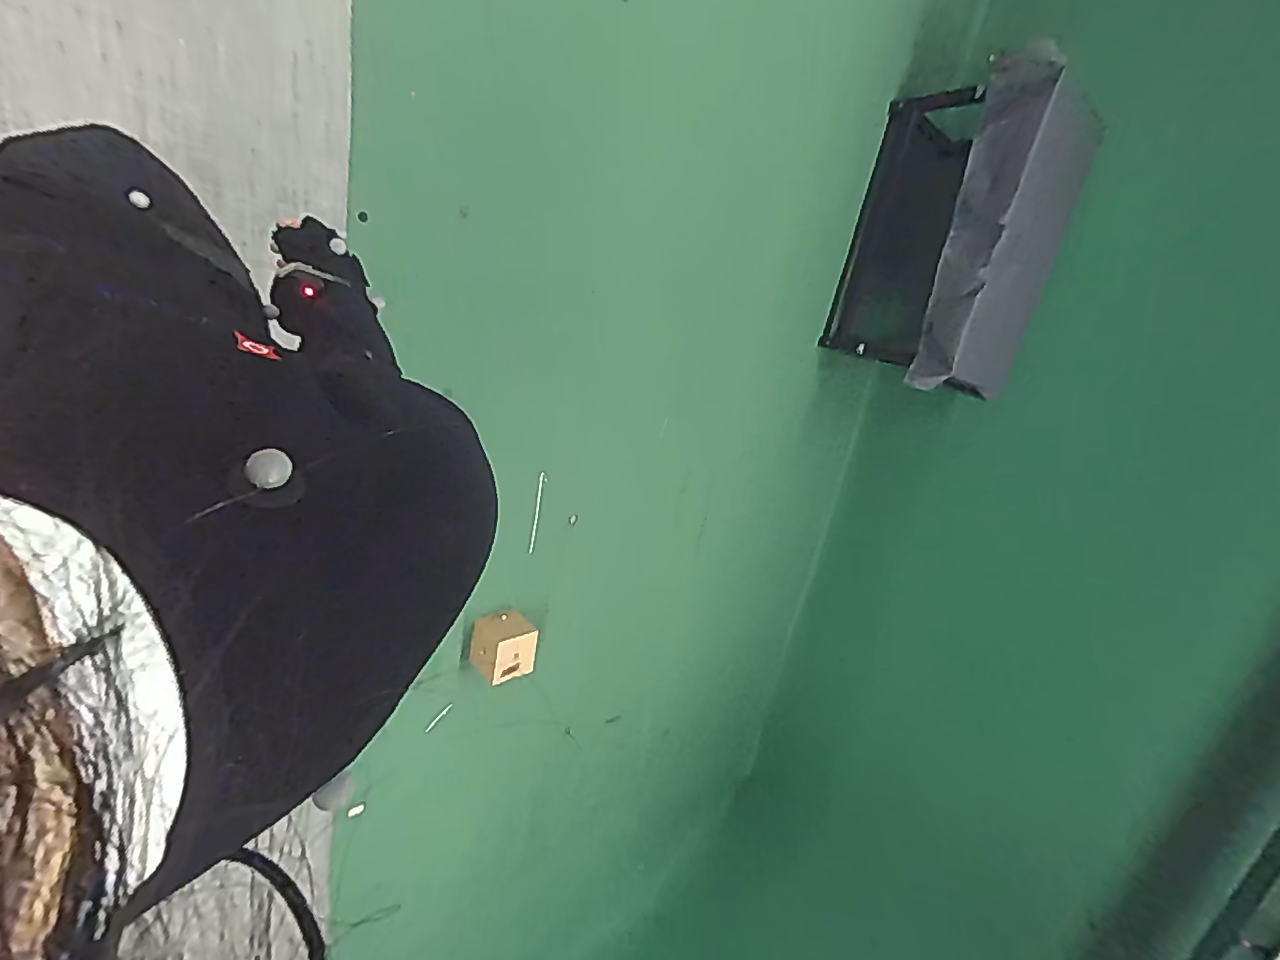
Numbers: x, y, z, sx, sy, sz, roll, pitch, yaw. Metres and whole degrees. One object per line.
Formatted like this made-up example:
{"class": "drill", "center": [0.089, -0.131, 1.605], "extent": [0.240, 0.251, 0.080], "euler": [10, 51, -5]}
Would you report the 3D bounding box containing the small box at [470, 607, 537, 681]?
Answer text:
{"class": "small box", "center": [-0.500, 0.587, 1.957], "extent": [0.168, 0.176, 0.179], "euler": [-5, 113, -46]}
